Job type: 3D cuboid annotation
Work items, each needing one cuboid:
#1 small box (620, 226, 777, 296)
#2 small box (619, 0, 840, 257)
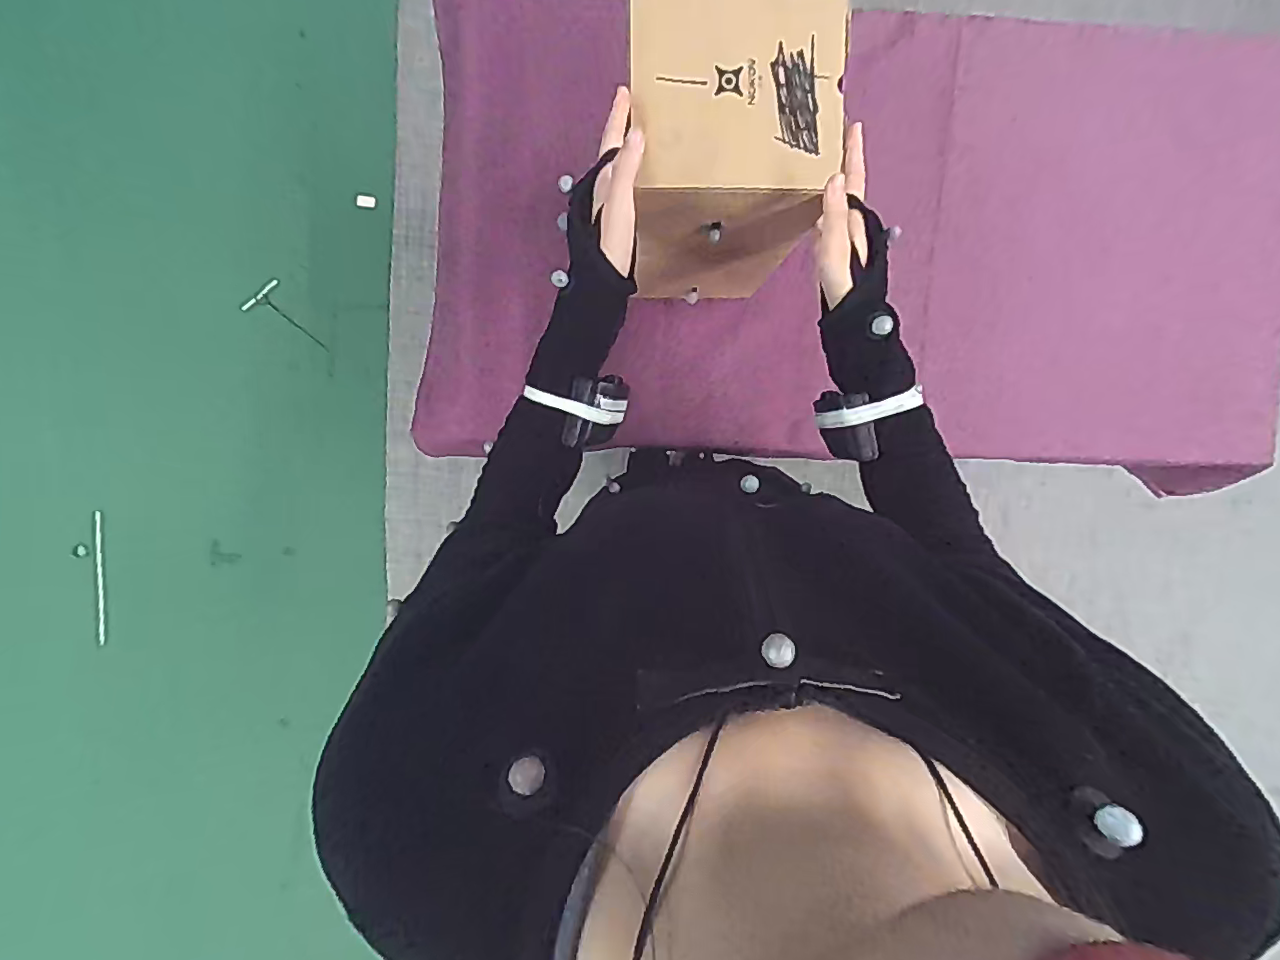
[{"bbox_3d":[0.064,-0.336,0.676,0.179,0.176,0.168,0,95,-2],"label":"small box"},{"bbox_3d":[0.070,-0.322,0.512,0.179,0.176,0.168,0,95,-1],"label":"small box"}]
